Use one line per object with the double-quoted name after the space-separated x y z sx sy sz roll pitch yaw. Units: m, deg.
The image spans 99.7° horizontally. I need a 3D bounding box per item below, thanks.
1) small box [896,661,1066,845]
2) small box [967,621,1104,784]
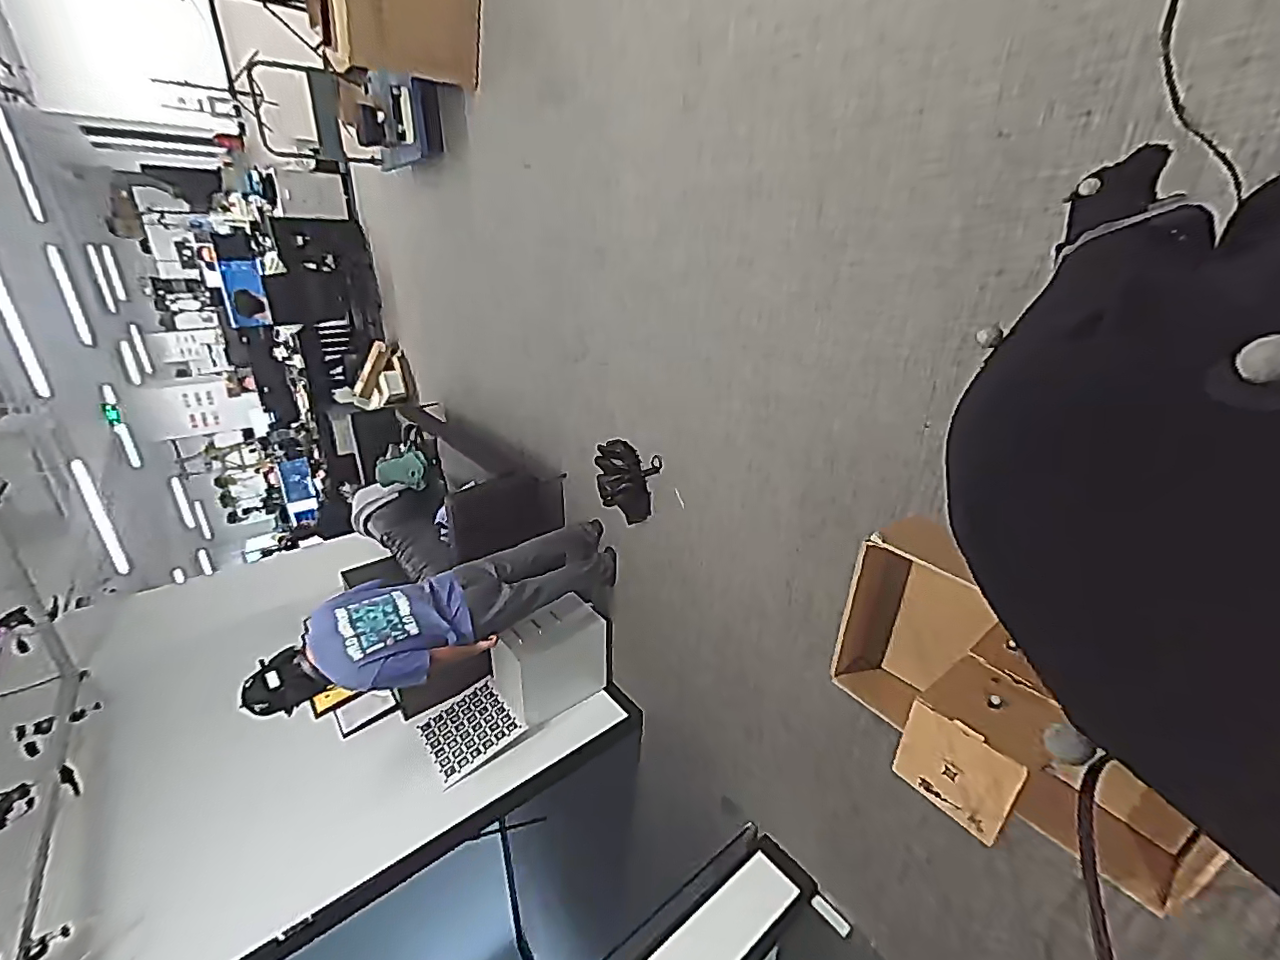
0.560 0.434 0.889 0.168 0.176 0.179 31 128 46 "small box"
0.692 0.388 0.974 0.168 0.176 0.179 31 130 46 "small box"
